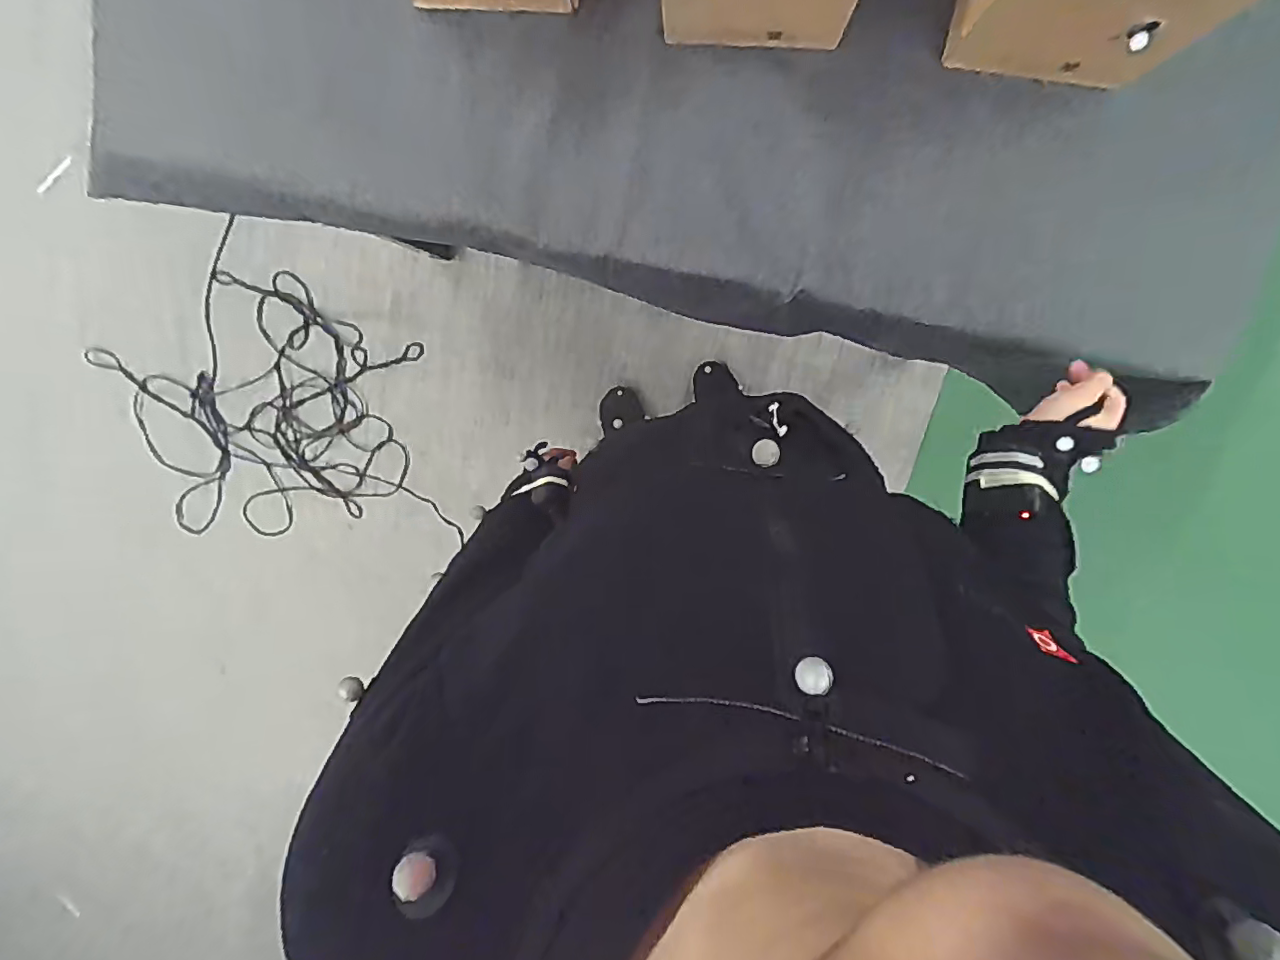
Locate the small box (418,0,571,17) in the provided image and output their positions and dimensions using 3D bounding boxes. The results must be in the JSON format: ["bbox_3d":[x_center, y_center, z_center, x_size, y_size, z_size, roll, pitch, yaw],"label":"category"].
[{"bbox_3d":[-0.146,-0.524,0.432,0.168,0.176,0.179,4,104,4],"label":"small box"}]

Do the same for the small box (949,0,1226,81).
[{"bbox_3d":[0.368,-0.443,0.409,0.168,0.176,0.179,8,103,2],"label":"small box"}]
